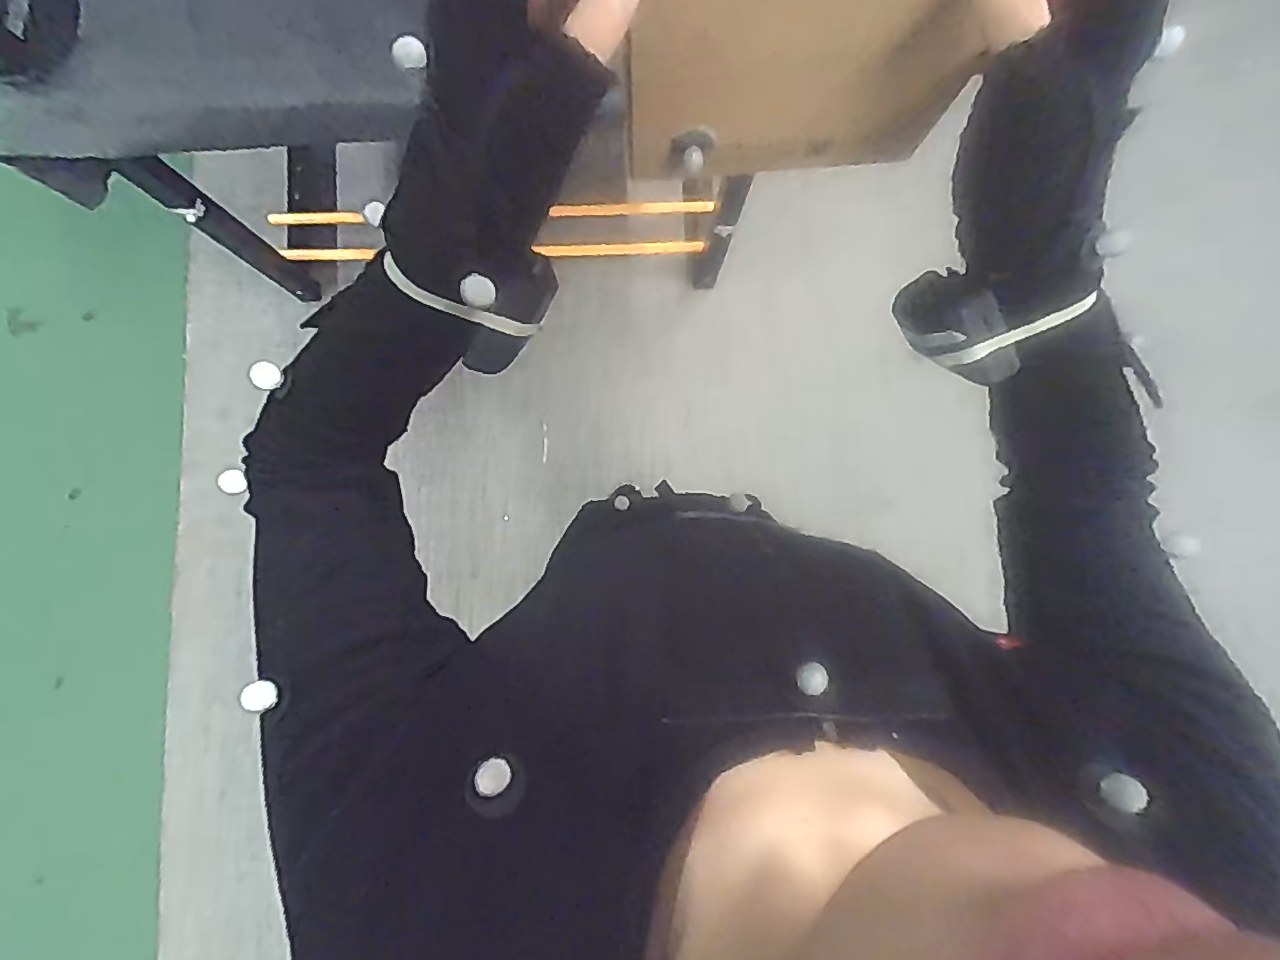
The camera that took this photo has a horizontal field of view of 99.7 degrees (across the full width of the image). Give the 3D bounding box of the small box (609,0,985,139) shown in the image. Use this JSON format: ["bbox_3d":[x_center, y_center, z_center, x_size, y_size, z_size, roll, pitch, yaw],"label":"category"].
[{"bbox_3d":[0.066,-0.280,0.235,0.168,0.176,0.179,-5,86,-1],"label":"small box"}]
